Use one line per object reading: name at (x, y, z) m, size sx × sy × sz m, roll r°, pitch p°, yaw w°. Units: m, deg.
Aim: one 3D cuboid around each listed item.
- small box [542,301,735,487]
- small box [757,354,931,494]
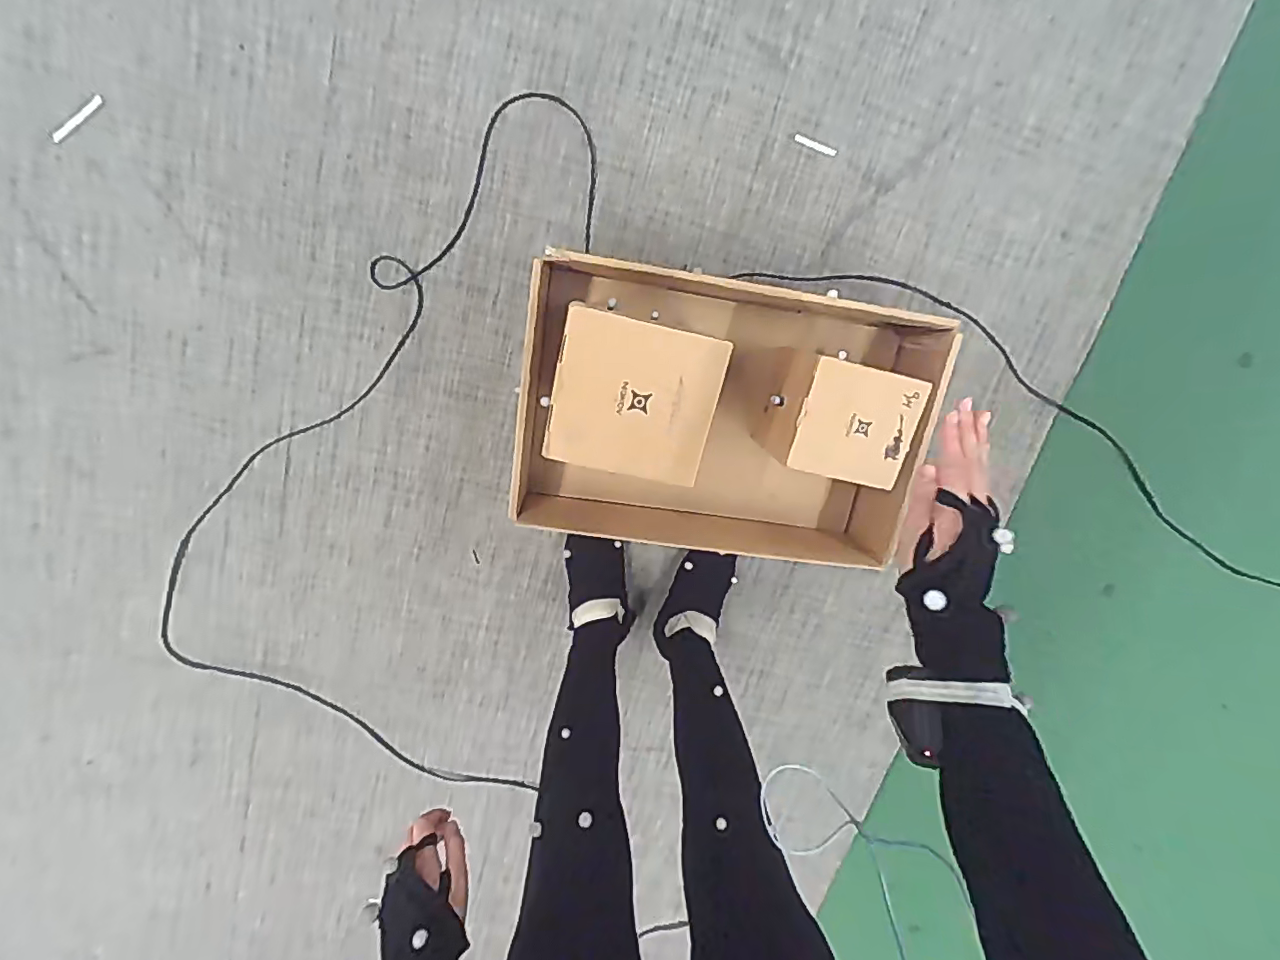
small box at (-0.010, -0.108, 0.649) m, size 0.179 × 0.176 × 0.168 m, roll 12°, pitch 107°, yaw -9°
small box at (0.303, -0.096, 0.848) m, size 0.179 × 0.176 × 0.168 m, roll 13°, pitch 105°, yaw -8°
